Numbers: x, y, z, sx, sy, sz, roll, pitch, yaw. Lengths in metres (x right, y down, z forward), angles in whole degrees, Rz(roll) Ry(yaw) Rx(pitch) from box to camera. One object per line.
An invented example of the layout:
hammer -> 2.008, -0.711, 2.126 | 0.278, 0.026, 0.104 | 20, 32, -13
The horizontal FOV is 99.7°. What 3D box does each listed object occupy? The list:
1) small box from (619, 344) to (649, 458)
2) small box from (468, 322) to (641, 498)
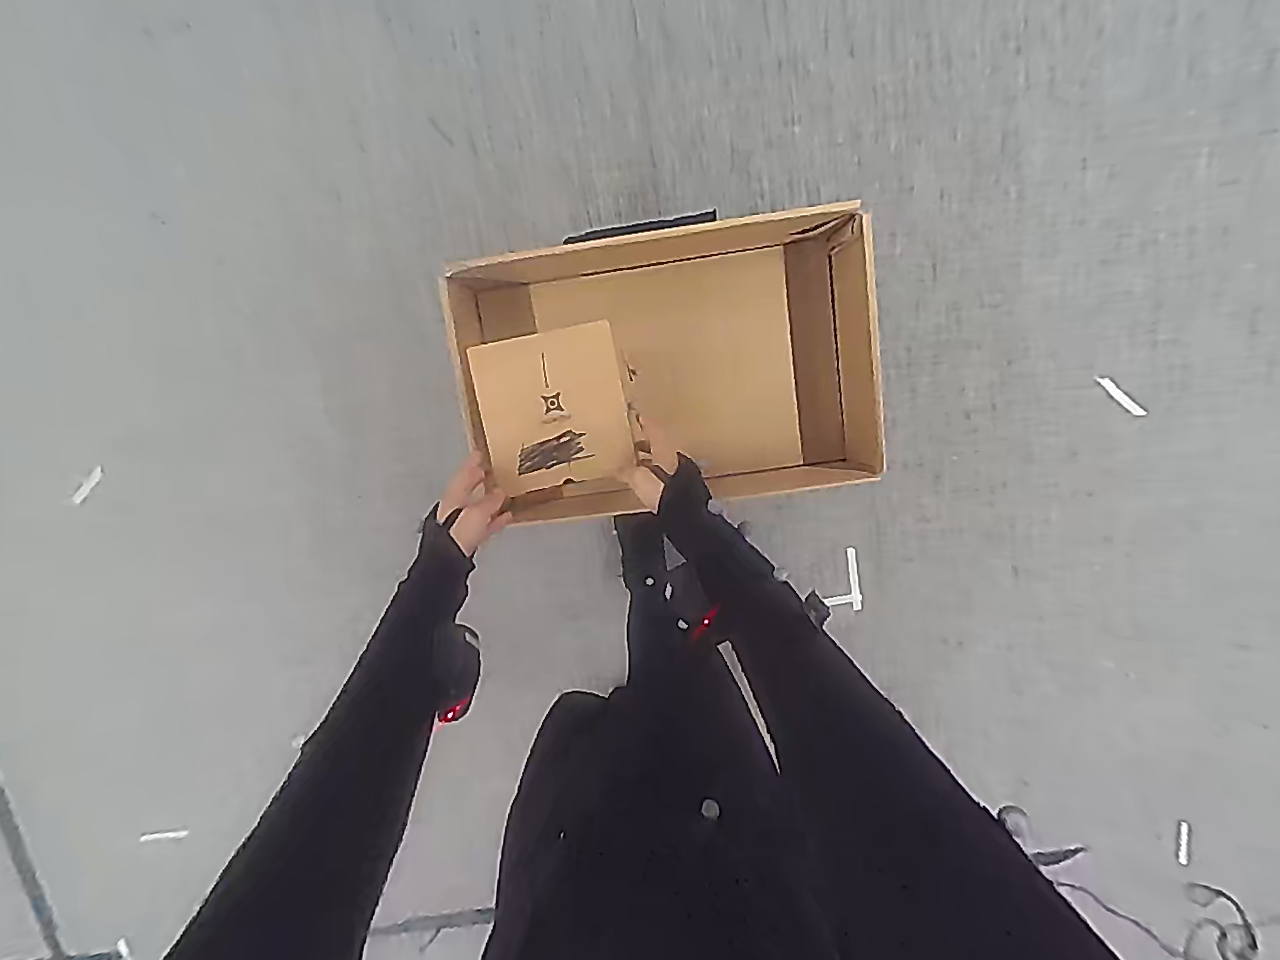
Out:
small box -> -0.086, -0.111, 0.850 | 0.179, 0.176, 0.168 | -12, 99, 4
small box -> -0.094, -0.089, 0.688 | 0.168, 0.176, 0.179 | -11, 97, 3
